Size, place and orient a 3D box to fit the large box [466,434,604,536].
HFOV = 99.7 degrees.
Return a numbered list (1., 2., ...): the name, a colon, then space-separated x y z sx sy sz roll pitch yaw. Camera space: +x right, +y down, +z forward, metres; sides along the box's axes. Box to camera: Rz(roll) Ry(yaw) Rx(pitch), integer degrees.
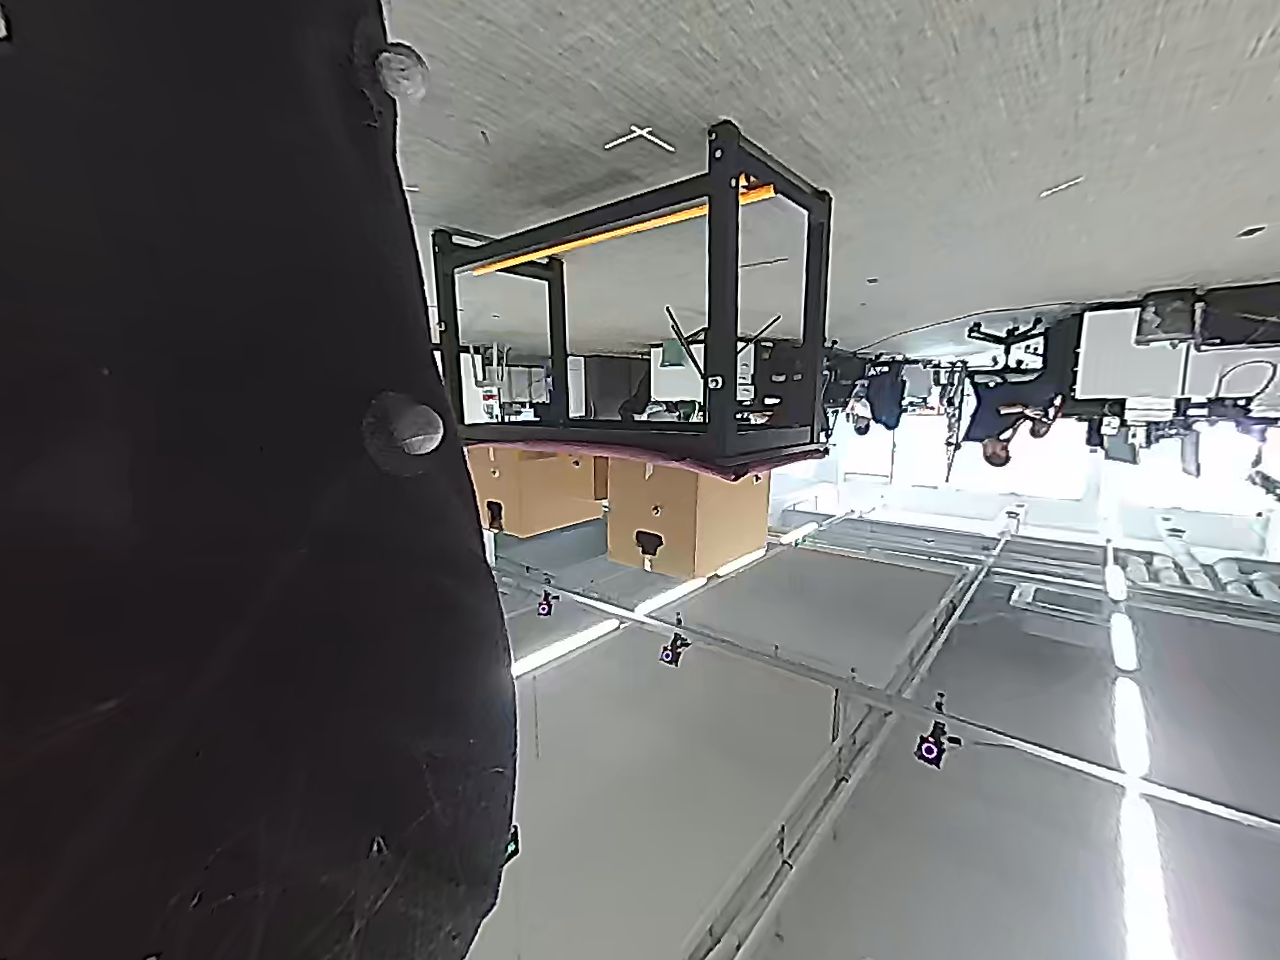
1. large box: -0.389 0.001 2.038 0.320 0.320 0.408 7 -167 39
